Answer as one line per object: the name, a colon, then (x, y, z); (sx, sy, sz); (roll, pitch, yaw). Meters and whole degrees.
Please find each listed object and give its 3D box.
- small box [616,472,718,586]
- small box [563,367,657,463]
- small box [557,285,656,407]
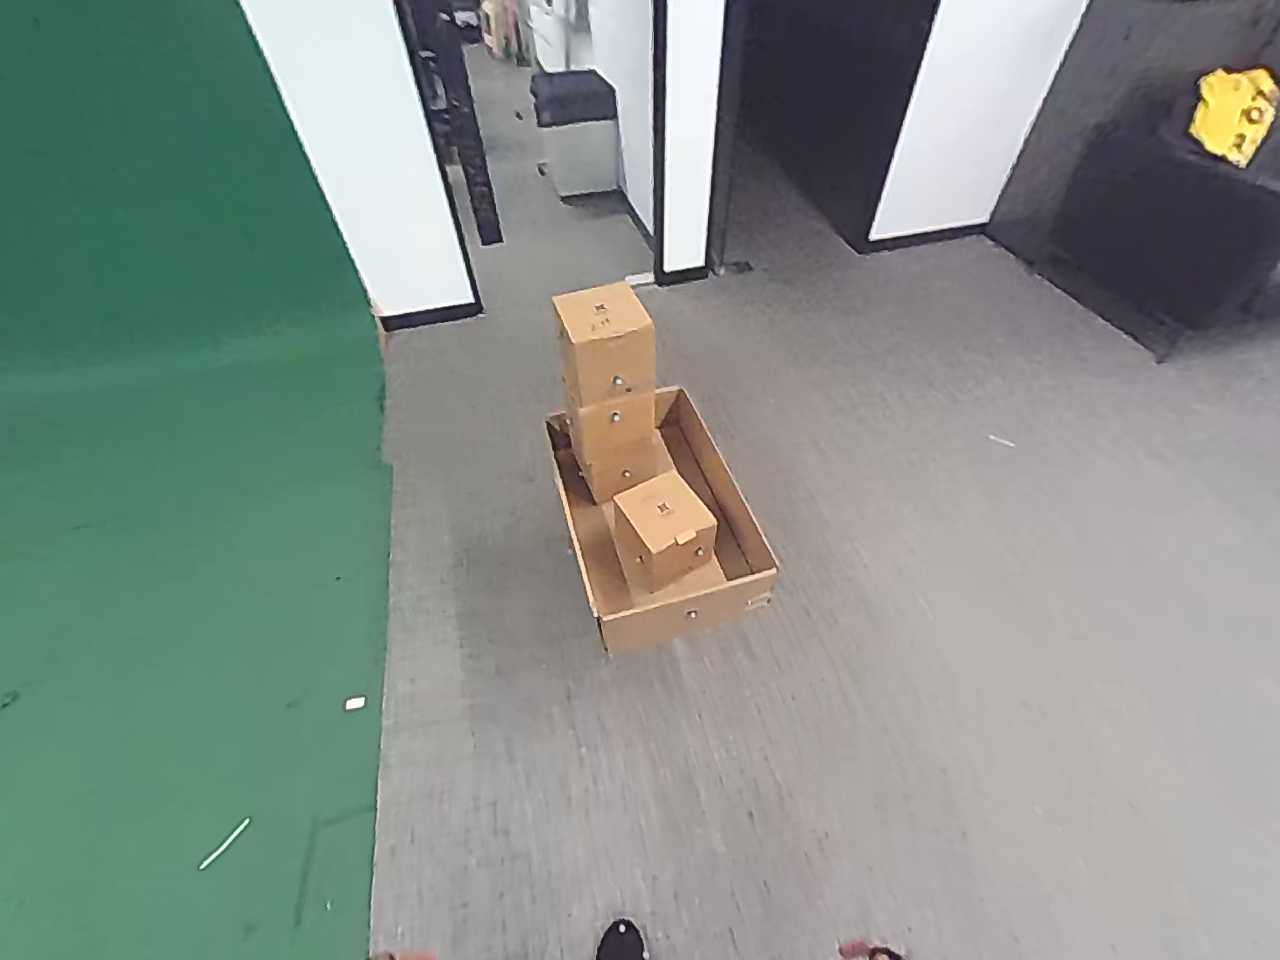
small box: (0.058, 0.120, 1.237); (0.168, 0.176, 0.179); (-23, 53, -19)
small box: (-0.069, -0.168, 1.269); (0.179, 0.176, 0.168); (-18, 52, -12)
small box: (-0.070, -0.284, 1.151); (0.168, 0.176, 0.179); (-16, 52, -10)
